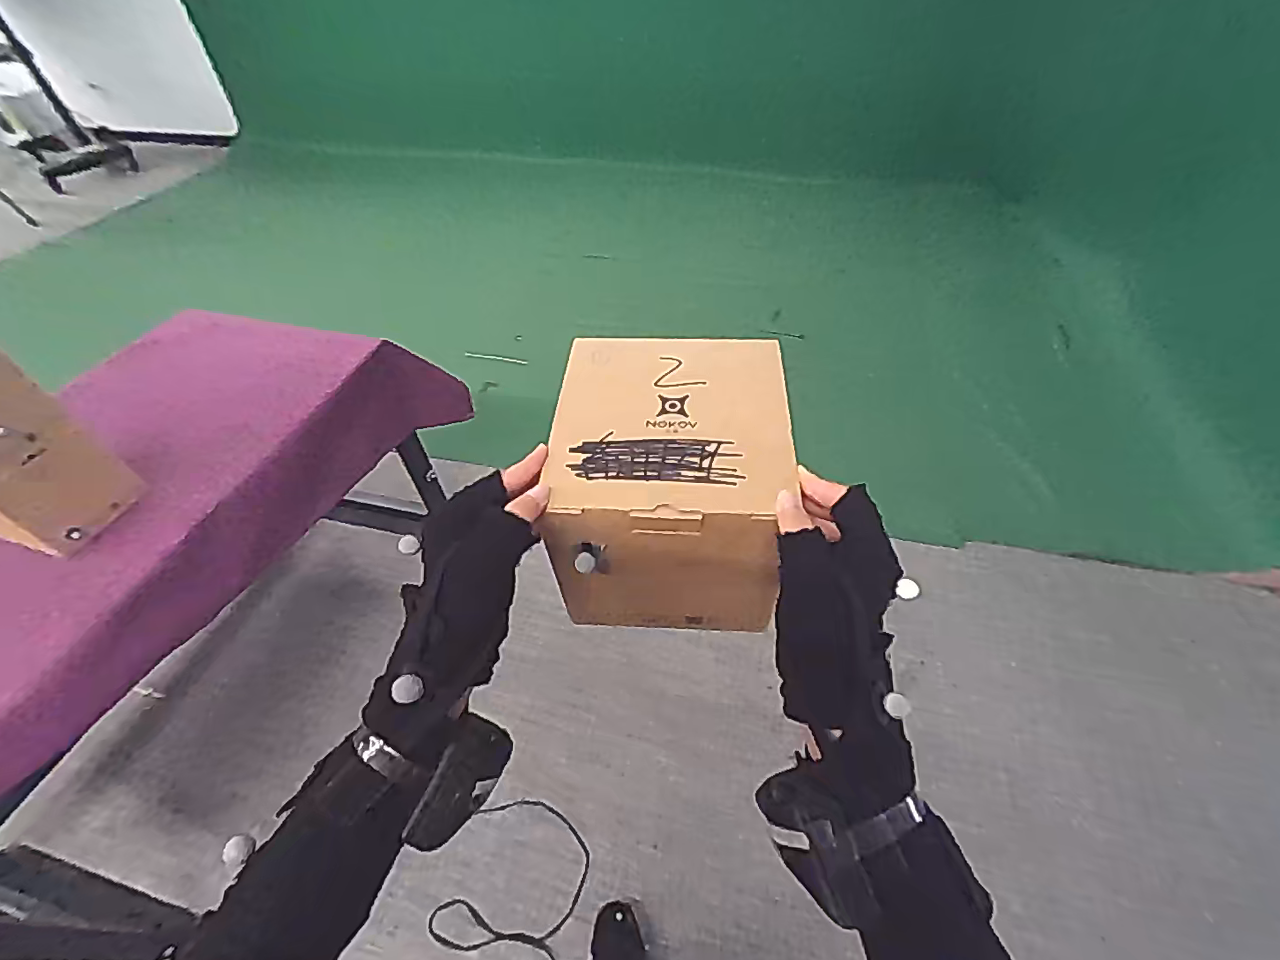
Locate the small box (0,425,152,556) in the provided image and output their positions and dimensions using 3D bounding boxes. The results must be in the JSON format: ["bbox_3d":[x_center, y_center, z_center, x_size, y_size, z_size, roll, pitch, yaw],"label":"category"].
[{"bbox_3d":[-1.012,0.008,0.925,0.179,0.176,0.168,11,49,13],"label":"small box"}]
